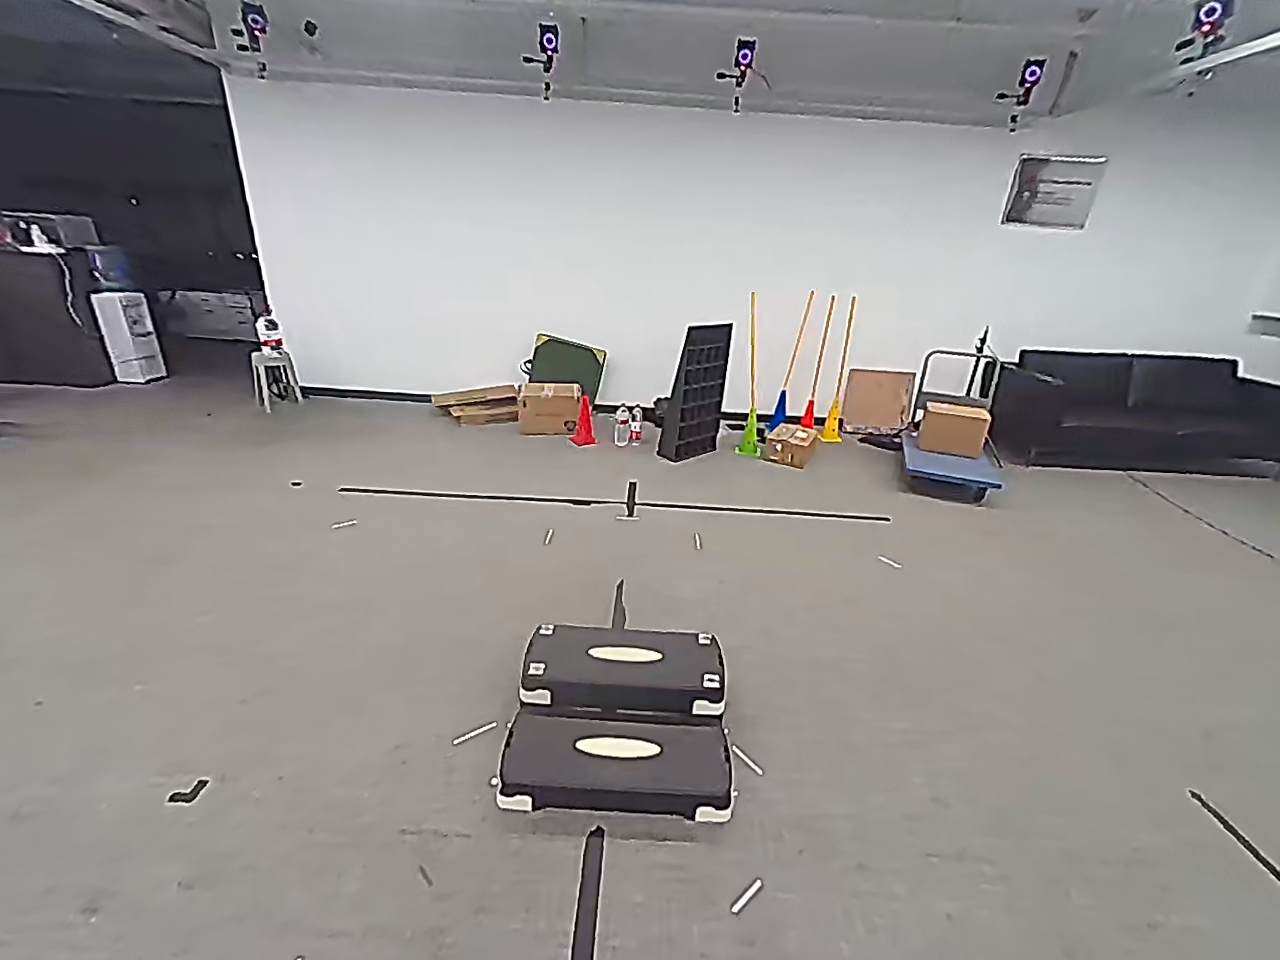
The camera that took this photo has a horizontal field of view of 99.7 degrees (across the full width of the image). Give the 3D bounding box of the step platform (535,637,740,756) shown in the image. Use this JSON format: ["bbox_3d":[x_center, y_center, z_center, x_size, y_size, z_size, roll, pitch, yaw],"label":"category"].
[{"bbox_3d":[-0.005,0.722,1.841,0.684,0.204,0.286,5,22,4],"label":"step platform"}]
